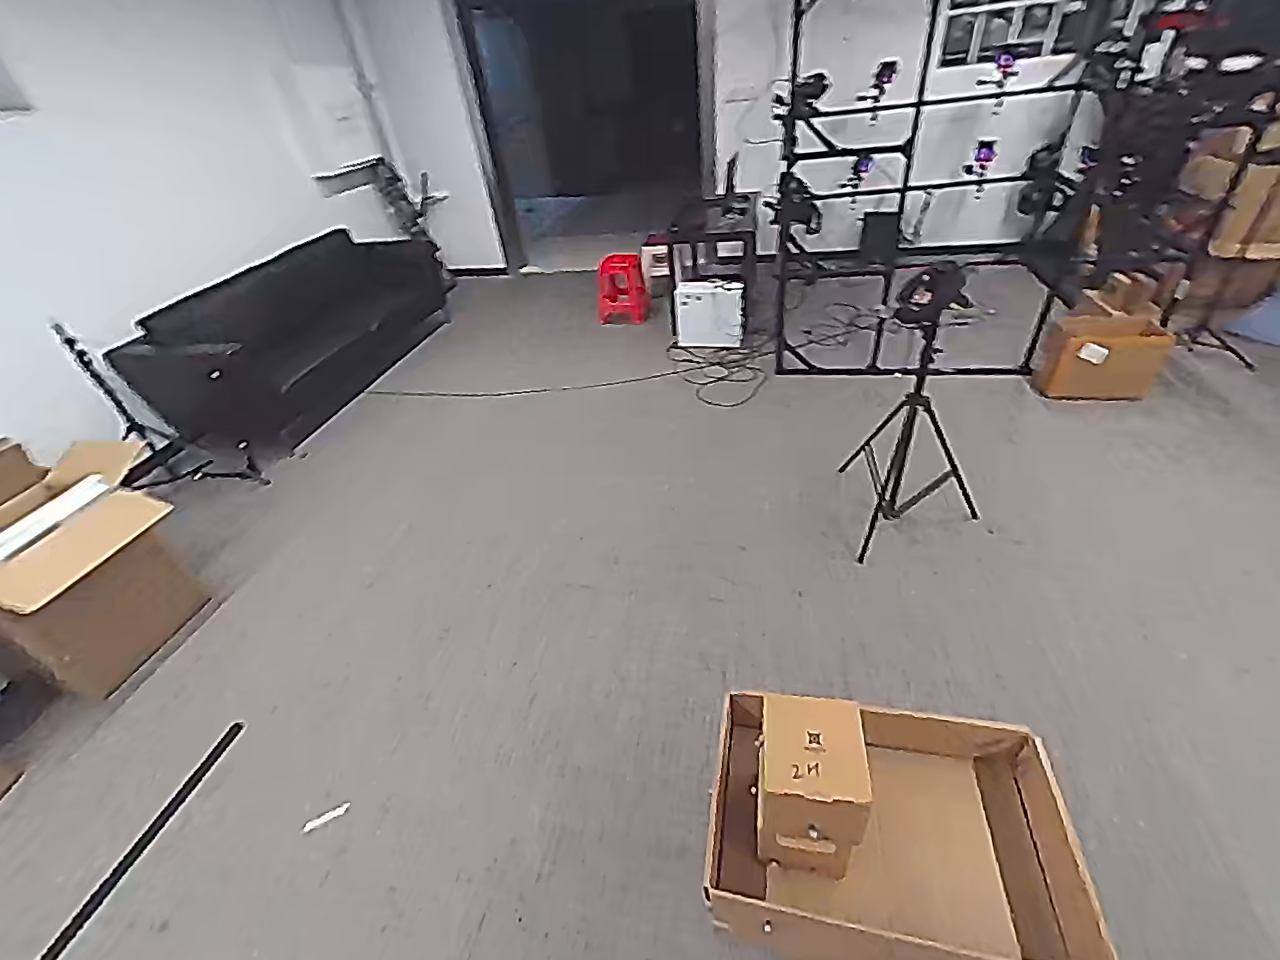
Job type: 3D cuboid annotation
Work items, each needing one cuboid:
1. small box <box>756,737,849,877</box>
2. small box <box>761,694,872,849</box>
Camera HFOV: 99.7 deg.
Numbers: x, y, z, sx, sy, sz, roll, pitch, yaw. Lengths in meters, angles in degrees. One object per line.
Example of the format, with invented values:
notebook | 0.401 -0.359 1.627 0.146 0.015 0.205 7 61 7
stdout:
small box | 0.315 0.639 1.058 0.168 0.176 0.179 2 37 13
small box | 0.301 0.511 0.955 0.168 0.176 0.179 1 38 13
